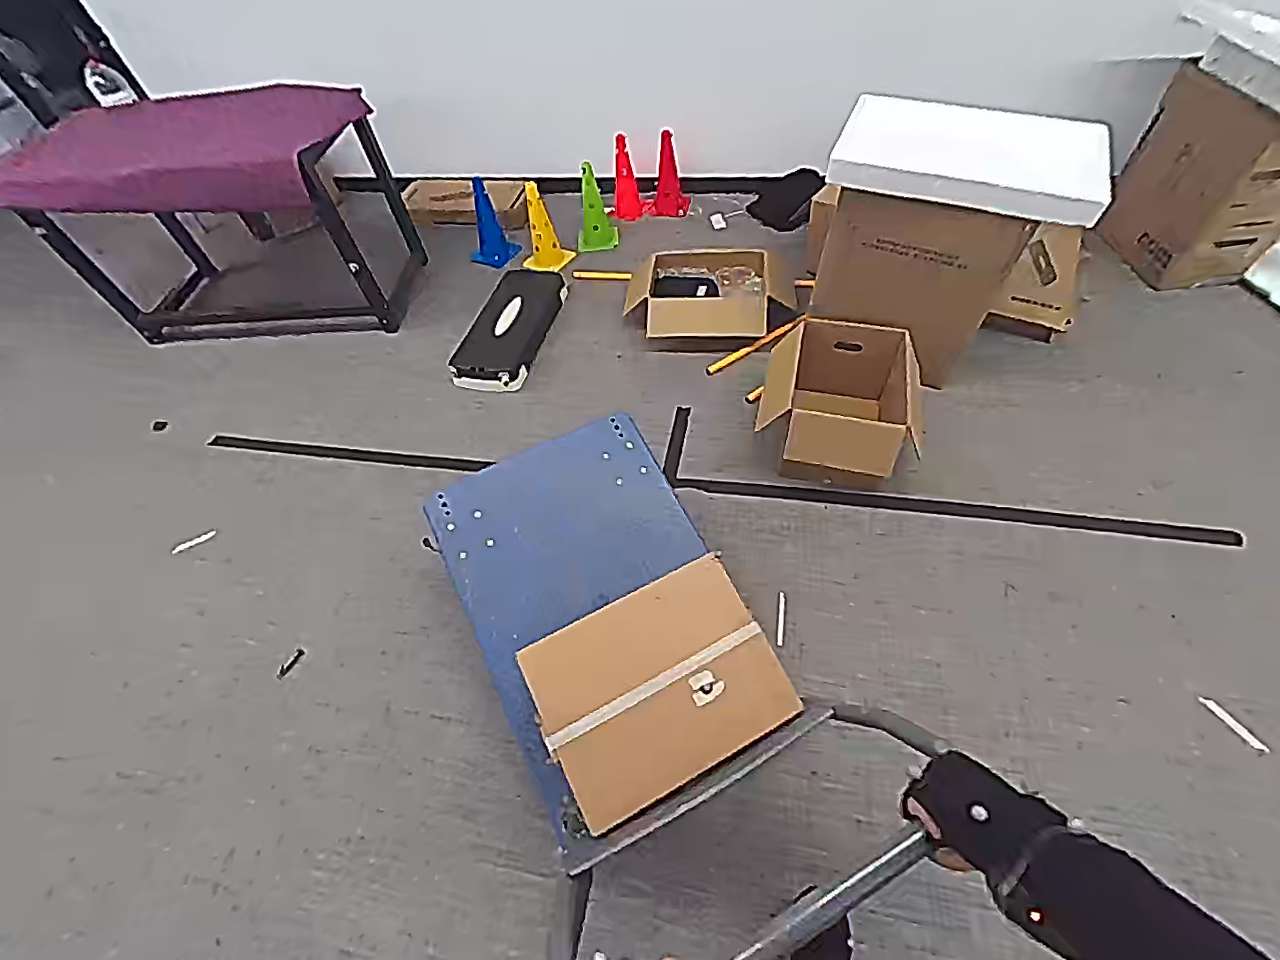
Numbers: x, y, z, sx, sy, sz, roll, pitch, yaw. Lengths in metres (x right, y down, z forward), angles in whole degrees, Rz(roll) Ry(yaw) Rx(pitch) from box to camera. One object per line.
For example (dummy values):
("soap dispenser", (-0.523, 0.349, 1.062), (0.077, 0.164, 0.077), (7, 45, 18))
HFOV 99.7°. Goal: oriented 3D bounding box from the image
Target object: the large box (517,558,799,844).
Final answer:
("large box", (0.021, 0.412, 1.061), (0.408, 0.320, 0.320), (-26, 73, -13))
